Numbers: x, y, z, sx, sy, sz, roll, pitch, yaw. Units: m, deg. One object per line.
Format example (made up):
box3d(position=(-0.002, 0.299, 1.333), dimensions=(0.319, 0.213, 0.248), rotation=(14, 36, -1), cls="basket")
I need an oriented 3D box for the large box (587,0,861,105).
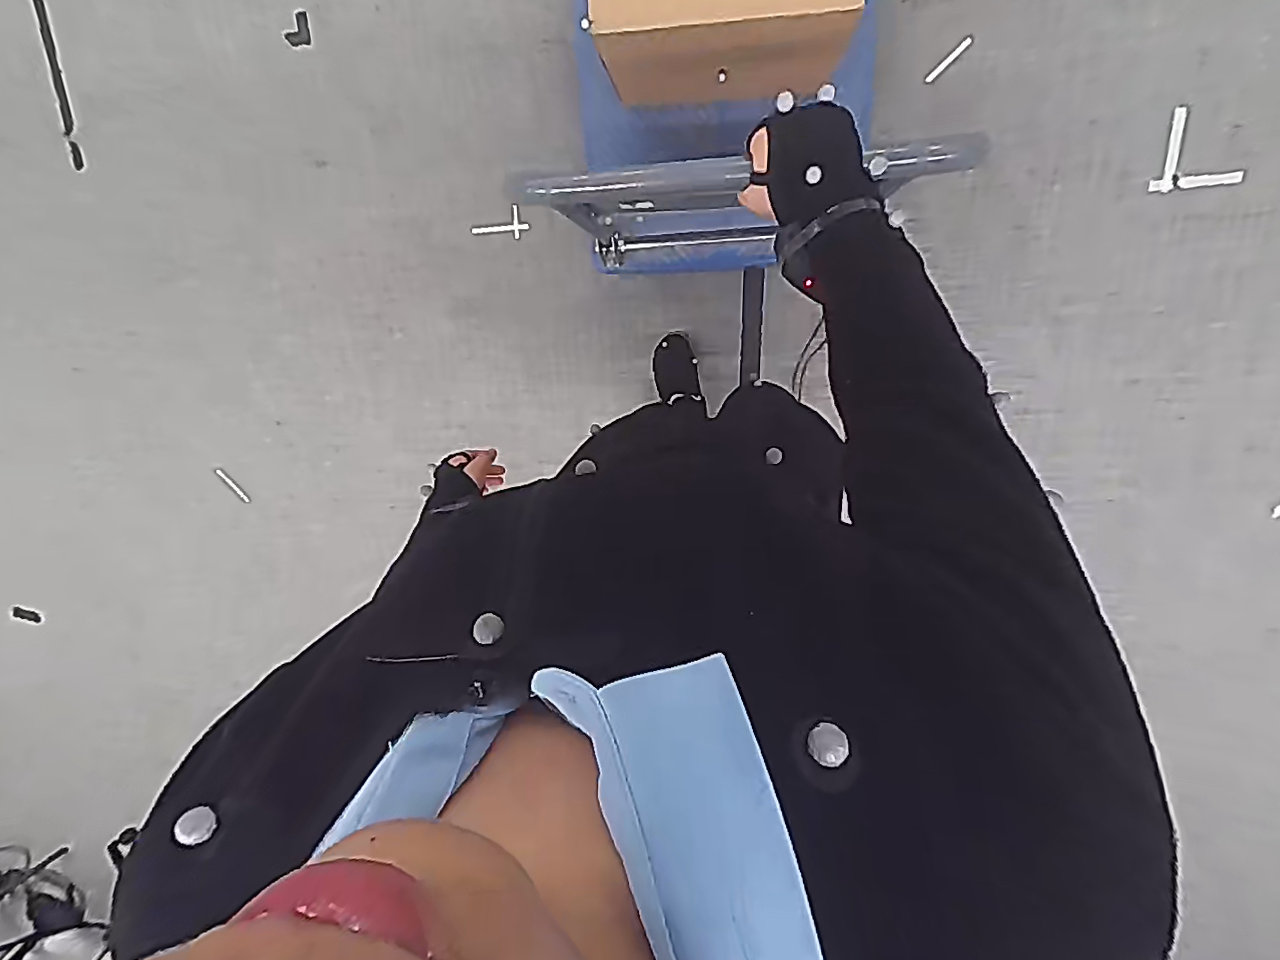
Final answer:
box3d(position=(0.138, -0.864, 0.890), dimensions=(0.408, 0.320, 0.320), rotation=(1, 106, 9), cls="large box")
